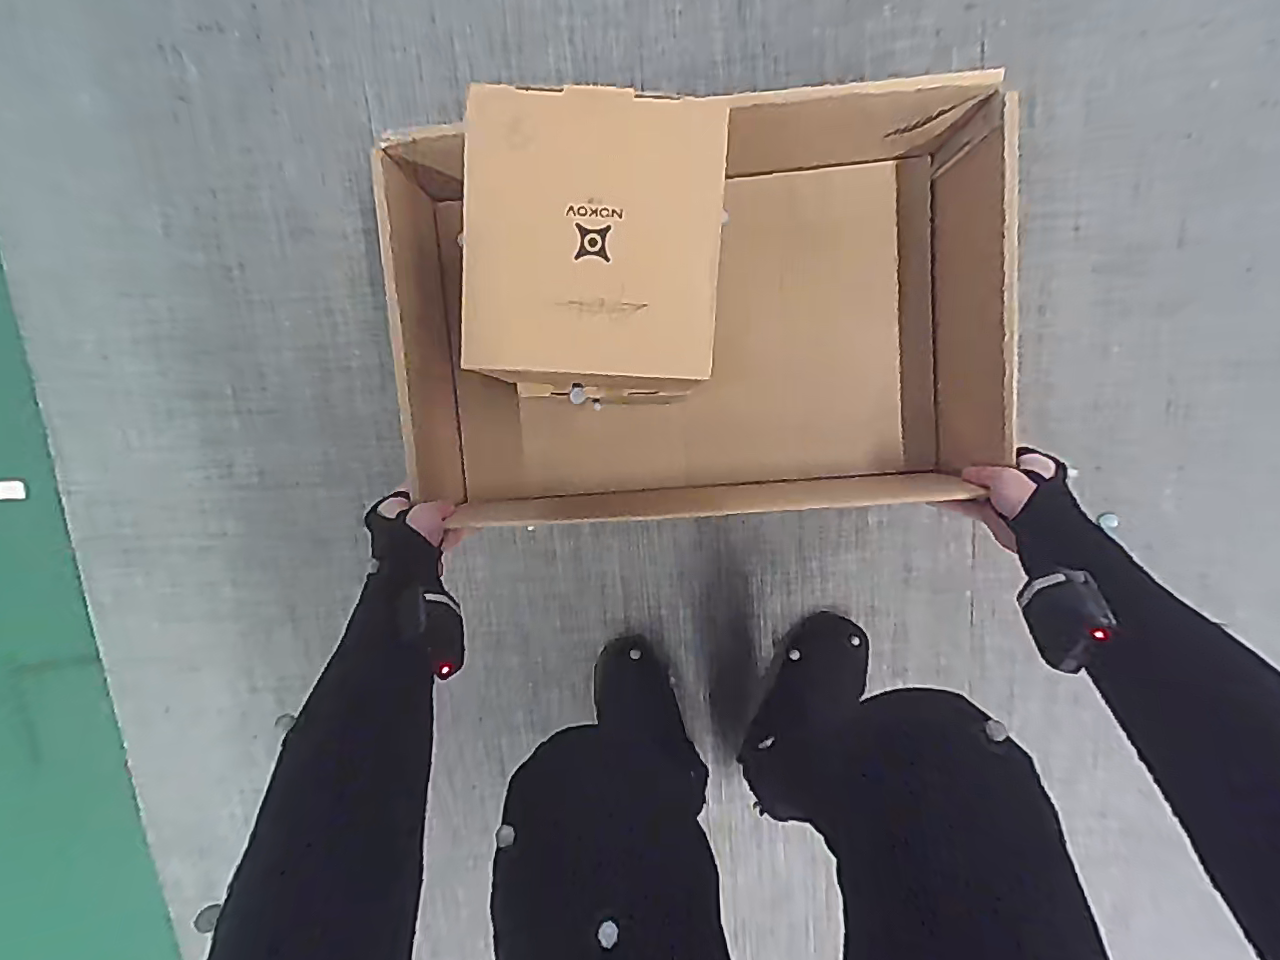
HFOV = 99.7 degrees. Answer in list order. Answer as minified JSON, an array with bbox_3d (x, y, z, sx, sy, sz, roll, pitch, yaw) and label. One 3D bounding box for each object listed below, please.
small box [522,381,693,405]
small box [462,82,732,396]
[{"bbox_3d":[-0.033,-0.173,0.587,0.168,0.176,0.179,-1,97,-2],"label":"small box"},{"bbox_3d":[-0.031,-0.163,0.424,0.168,0.176,0.179,3,96,-1],"label":"small box"}]
